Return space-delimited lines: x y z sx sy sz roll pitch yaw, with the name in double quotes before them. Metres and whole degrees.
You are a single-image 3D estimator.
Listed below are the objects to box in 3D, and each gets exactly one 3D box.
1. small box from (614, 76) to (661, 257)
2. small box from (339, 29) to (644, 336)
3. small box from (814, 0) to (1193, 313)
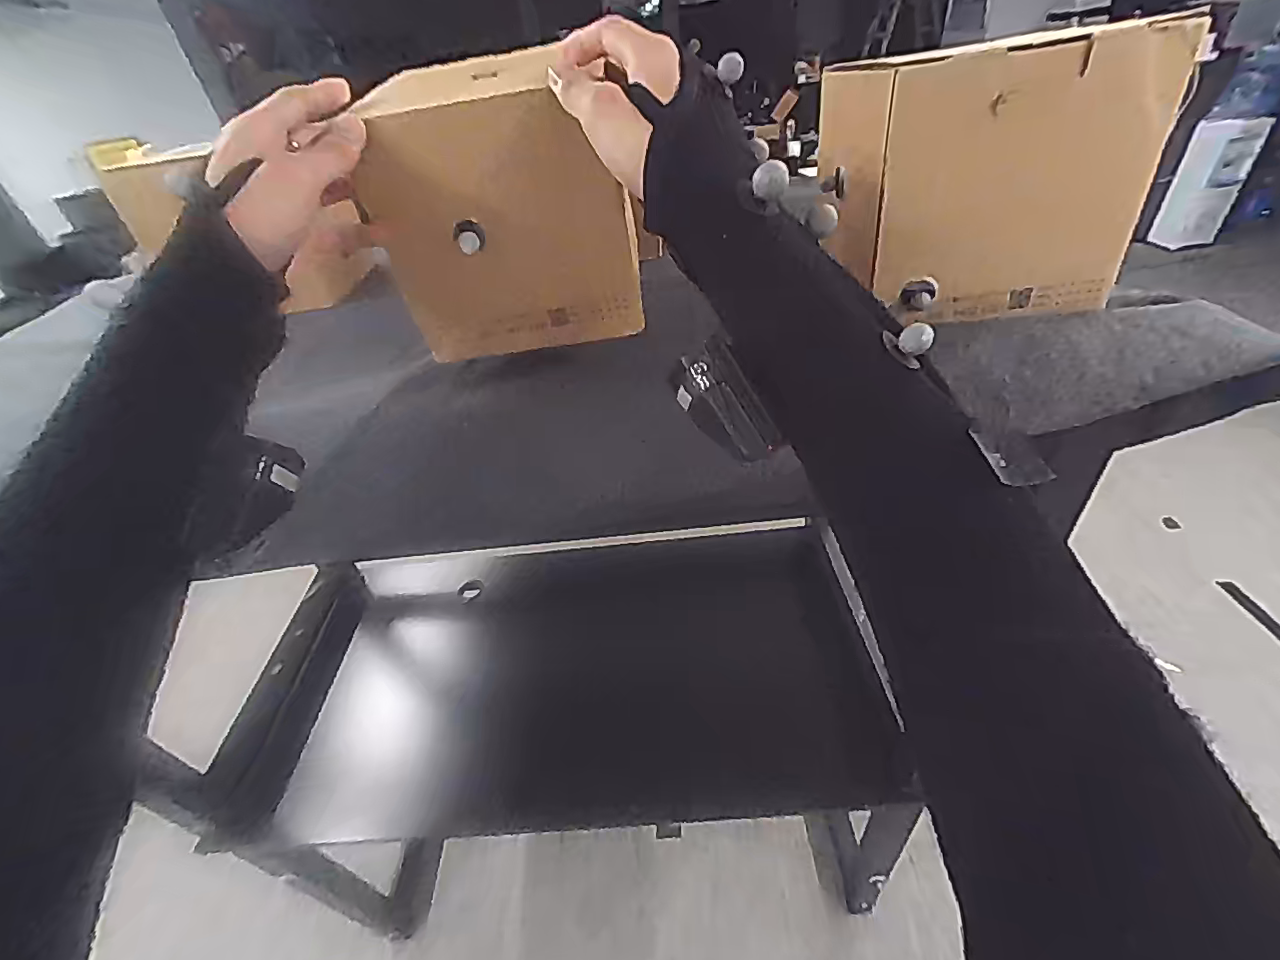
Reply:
"small box" -0.066 -0.374 0.656 0.168 0.176 0.179 -7 38 3
"small box" -0.090 -0.226 0.428 0.168 0.176 0.179 -7 43 4
"small box" 0.237 -0.235 0.416 0.168 0.176 0.179 -5 35 6
